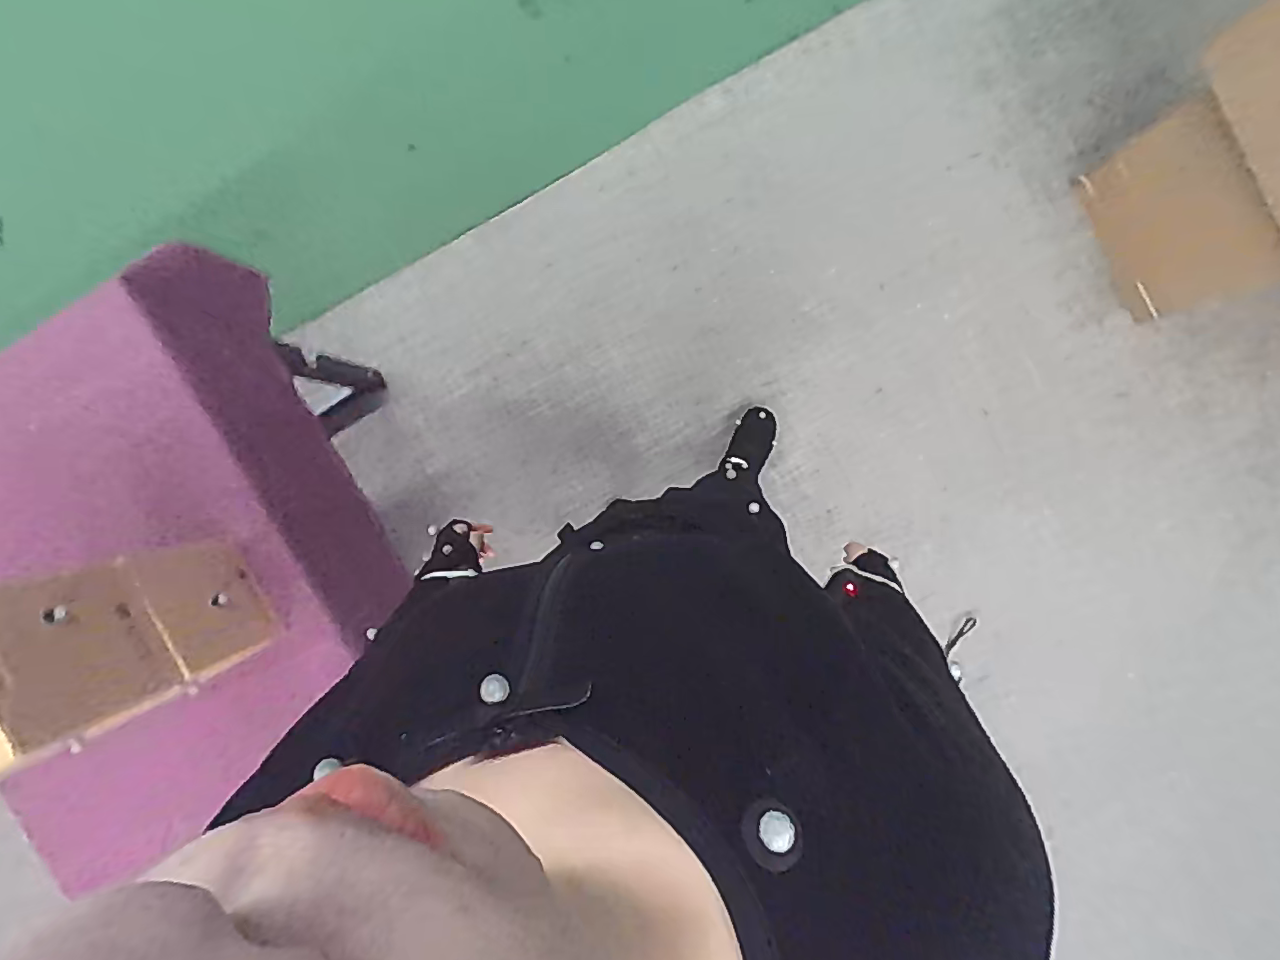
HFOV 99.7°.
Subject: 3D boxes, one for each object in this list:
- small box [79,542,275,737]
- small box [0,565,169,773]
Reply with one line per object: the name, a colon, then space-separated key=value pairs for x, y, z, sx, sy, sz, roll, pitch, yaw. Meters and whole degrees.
small box: x=-0.643 y=0.199 z=0.733 sx=0.179 sy=0.176 sz=0.168 roll=-30 pitch=89 yaw=4
small box: x=-0.657 y=0.207 z=0.570 sx=0.179 sy=0.176 sz=0.168 roll=-28 pitch=90 yaw=5
